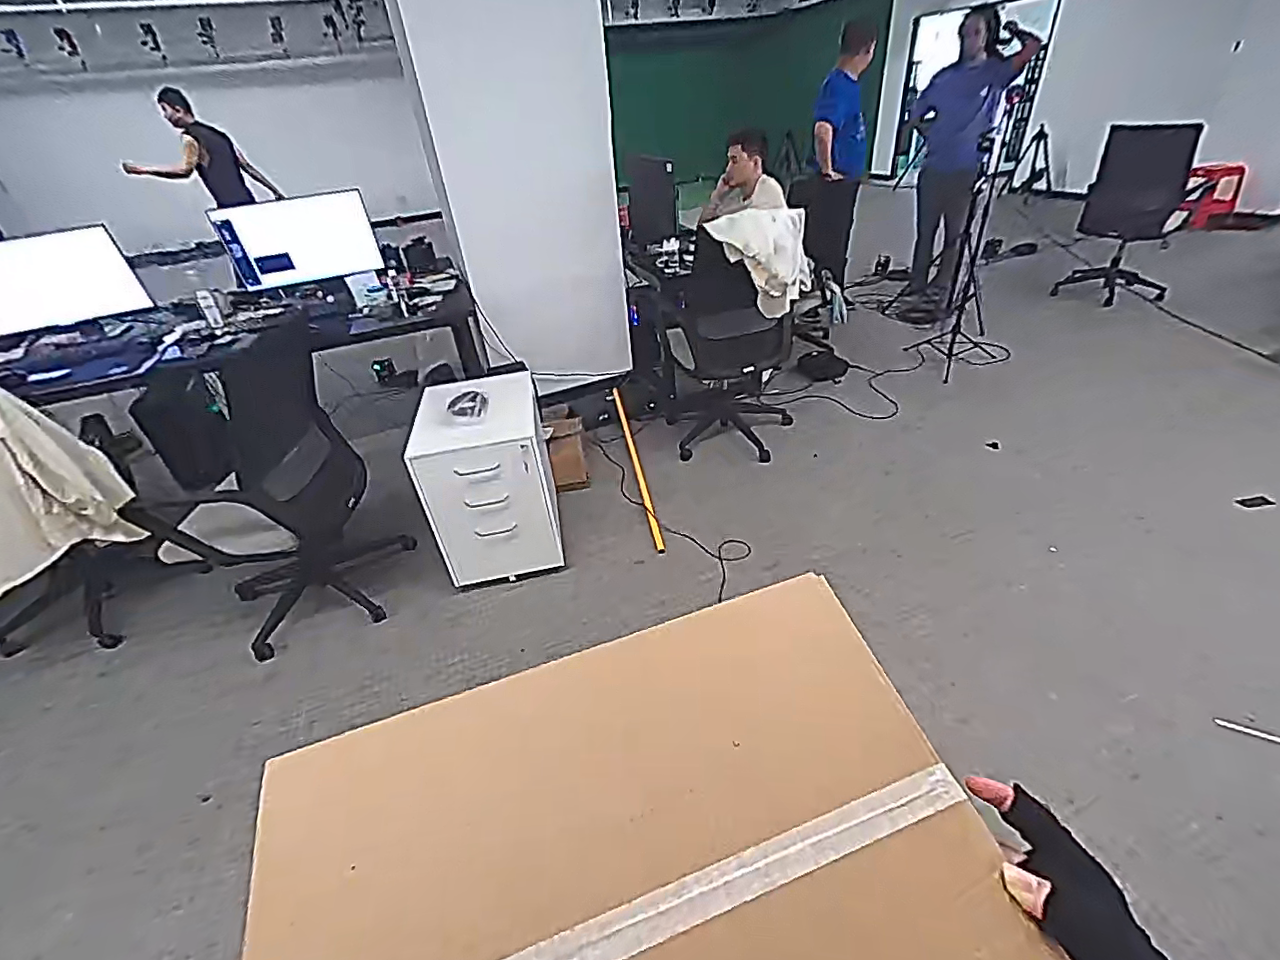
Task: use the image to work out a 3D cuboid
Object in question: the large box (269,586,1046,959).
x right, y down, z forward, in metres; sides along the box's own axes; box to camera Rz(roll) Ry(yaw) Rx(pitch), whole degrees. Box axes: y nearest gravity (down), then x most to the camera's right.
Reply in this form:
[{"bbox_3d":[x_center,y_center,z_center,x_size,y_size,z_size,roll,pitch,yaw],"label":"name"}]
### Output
[{"bbox_3d":[0.007,0.342,0.416,0.408,0.320,0.320,-17,50,-10],"label":"large box"}]
